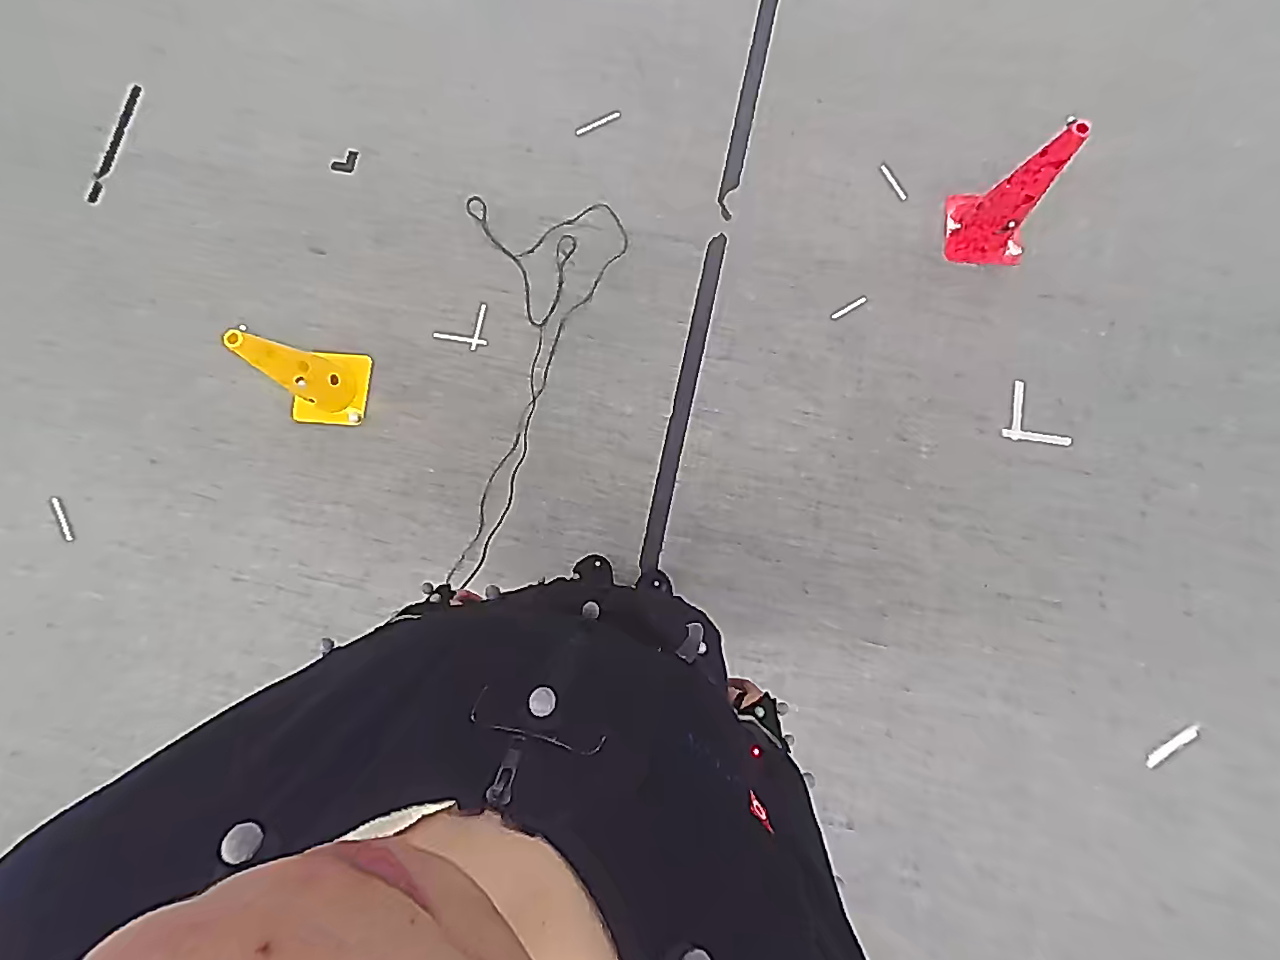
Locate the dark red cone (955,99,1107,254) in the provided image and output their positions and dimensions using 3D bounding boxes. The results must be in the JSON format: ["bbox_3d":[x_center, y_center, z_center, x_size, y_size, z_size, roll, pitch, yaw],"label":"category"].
[{"bbox_3d":[0.927,-0.719,1.269,0.201,0.394,0.202,4,82,4],"label":"dark red cone"}]
